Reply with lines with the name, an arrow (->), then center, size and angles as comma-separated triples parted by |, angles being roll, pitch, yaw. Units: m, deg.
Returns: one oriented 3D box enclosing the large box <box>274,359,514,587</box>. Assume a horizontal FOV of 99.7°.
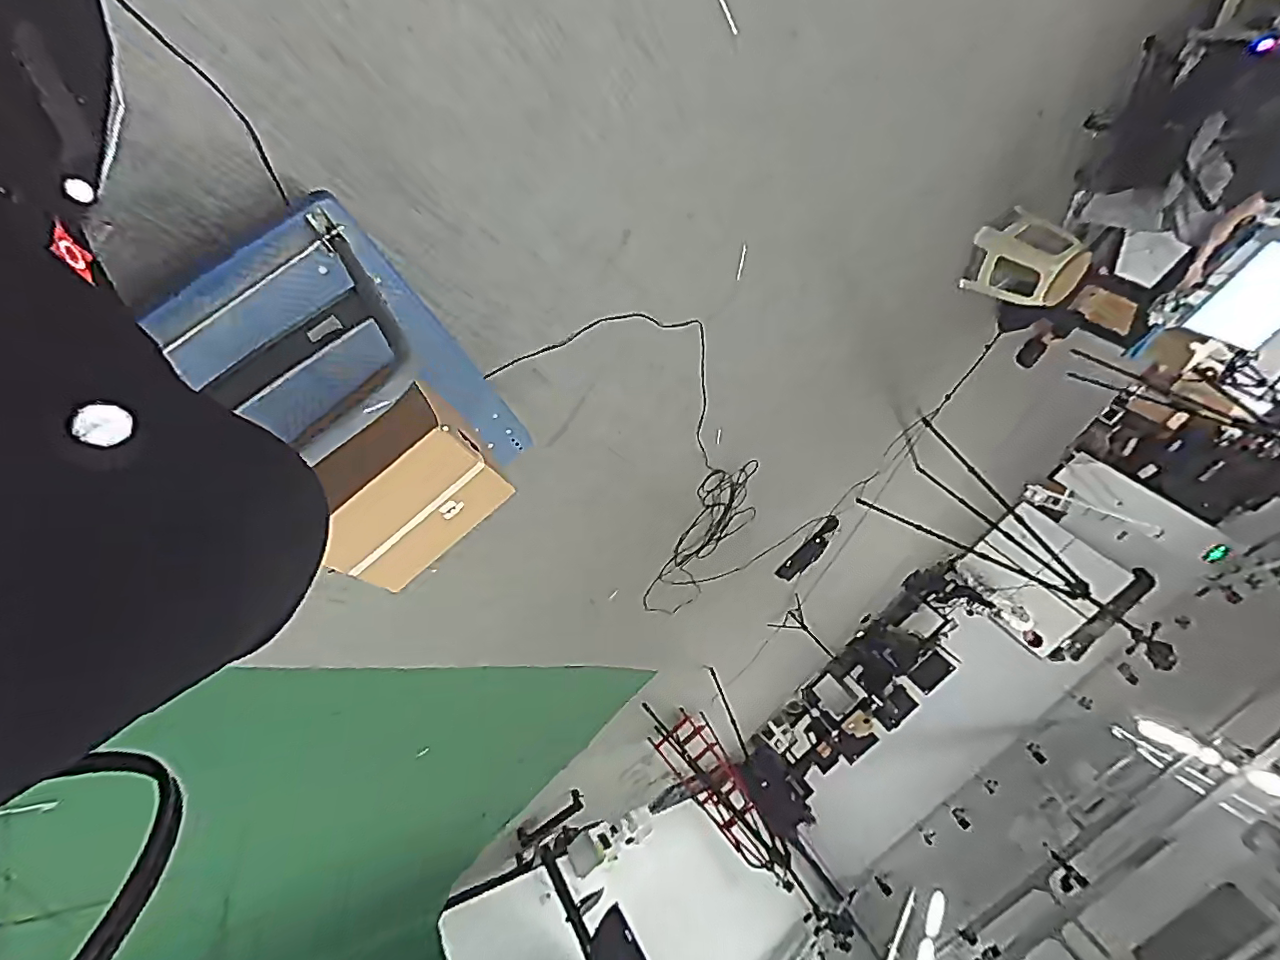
large box -> -0.604, -0.013, 1.341 | 0.408, 0.320, 0.320 | -42, 146, -3
